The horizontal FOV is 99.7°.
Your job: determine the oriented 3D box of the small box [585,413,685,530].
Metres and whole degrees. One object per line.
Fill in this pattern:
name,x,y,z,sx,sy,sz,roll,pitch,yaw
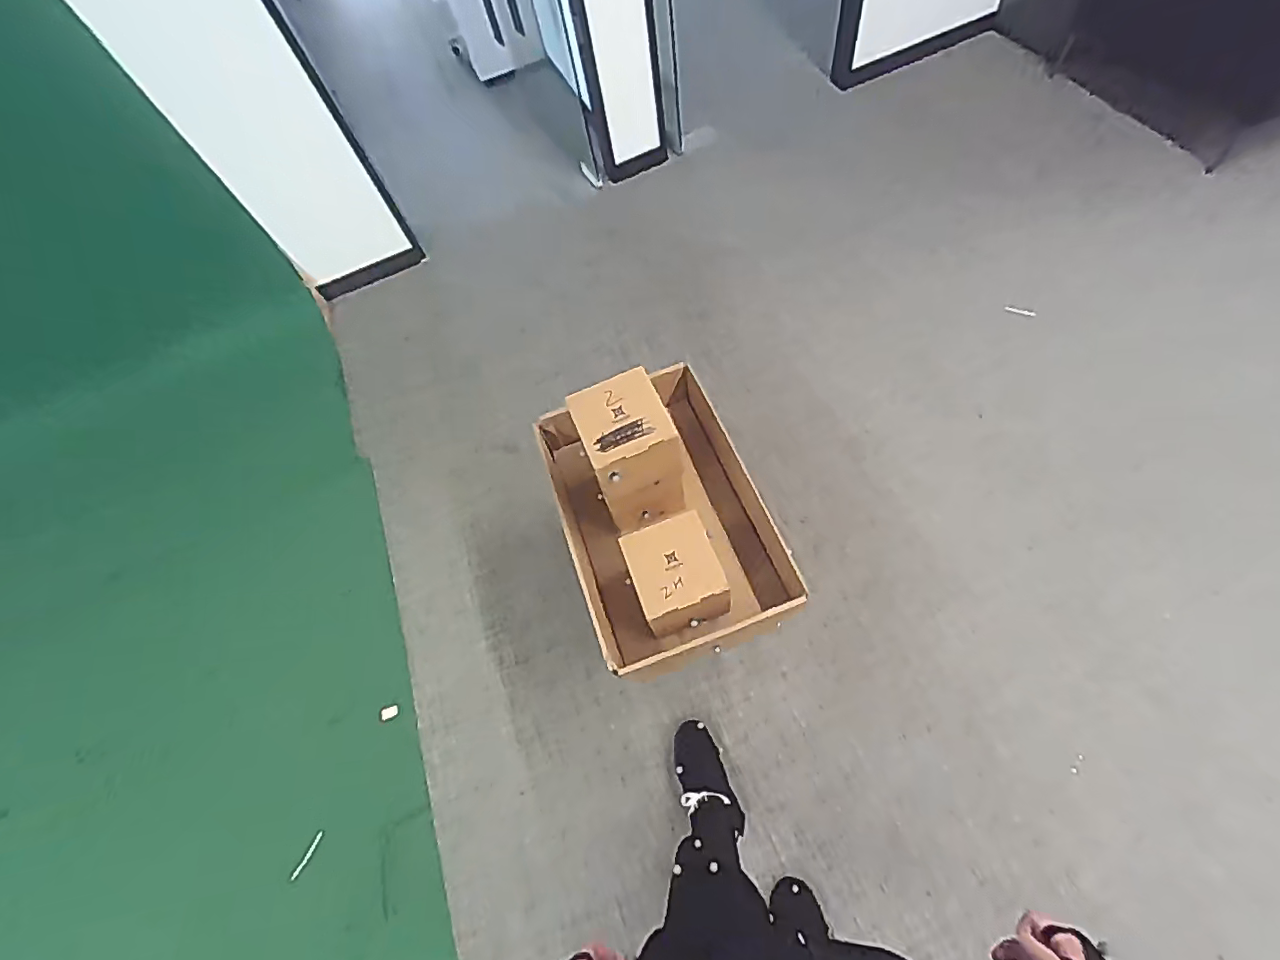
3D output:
small box,-0.008,-0.014,1.216,0.168,0.176,0.179,-22,63,-3

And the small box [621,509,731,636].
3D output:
small box,0.075,0.190,1.088,0.168,0.176,0.179,-21,61,-1
